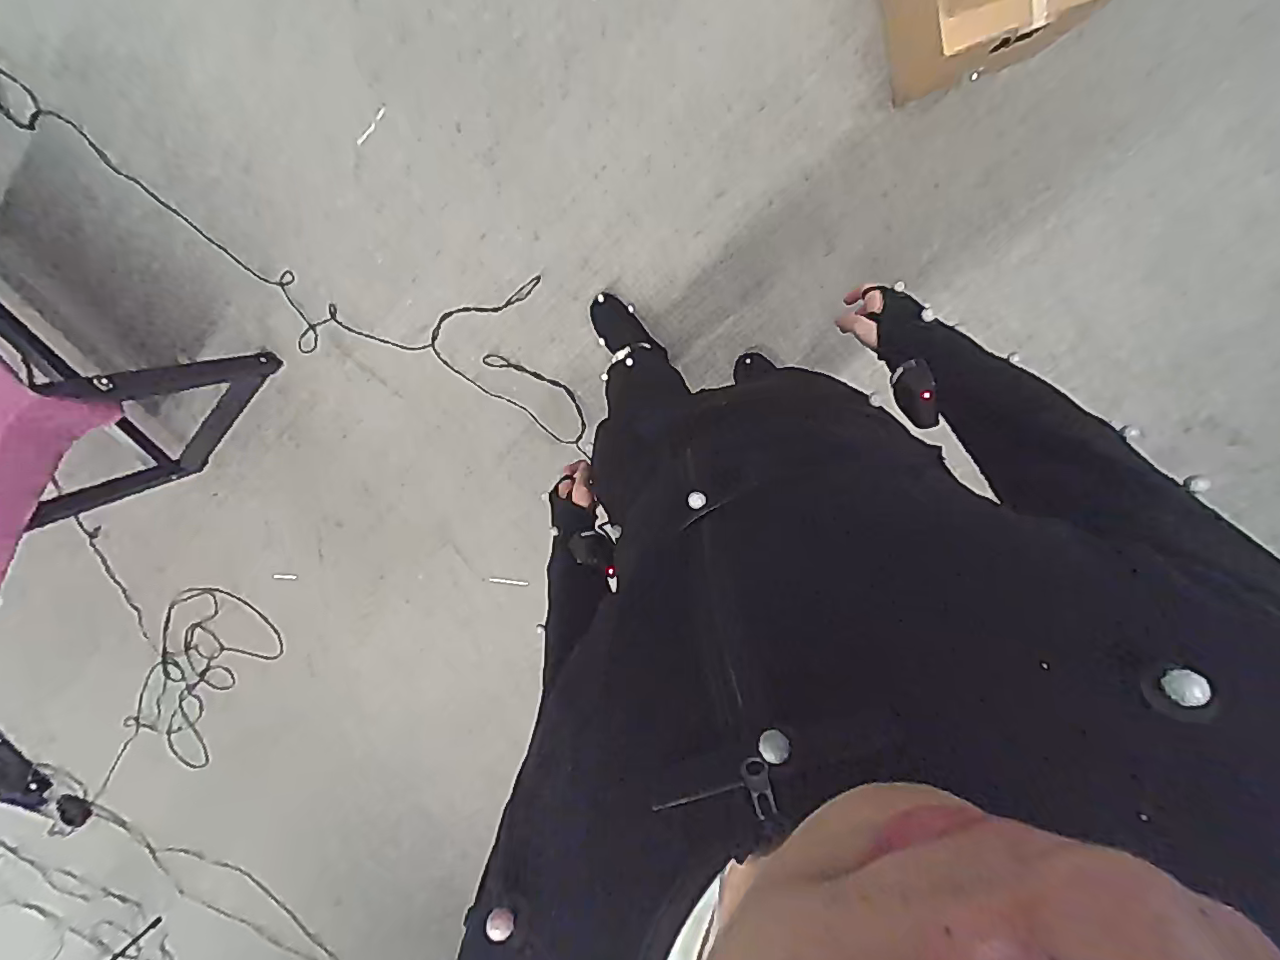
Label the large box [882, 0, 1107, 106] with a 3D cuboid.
[{"bbox_3d":[0.667,-1.043,1.044,0.320,0.320,0.408,-14,106,13],"label":"large box"}]

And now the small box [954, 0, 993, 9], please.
[{"bbox_3d":[0.607,-0.890,0.844,0.179,0.176,0.168,-10,108,13],"label":"small box"}]
